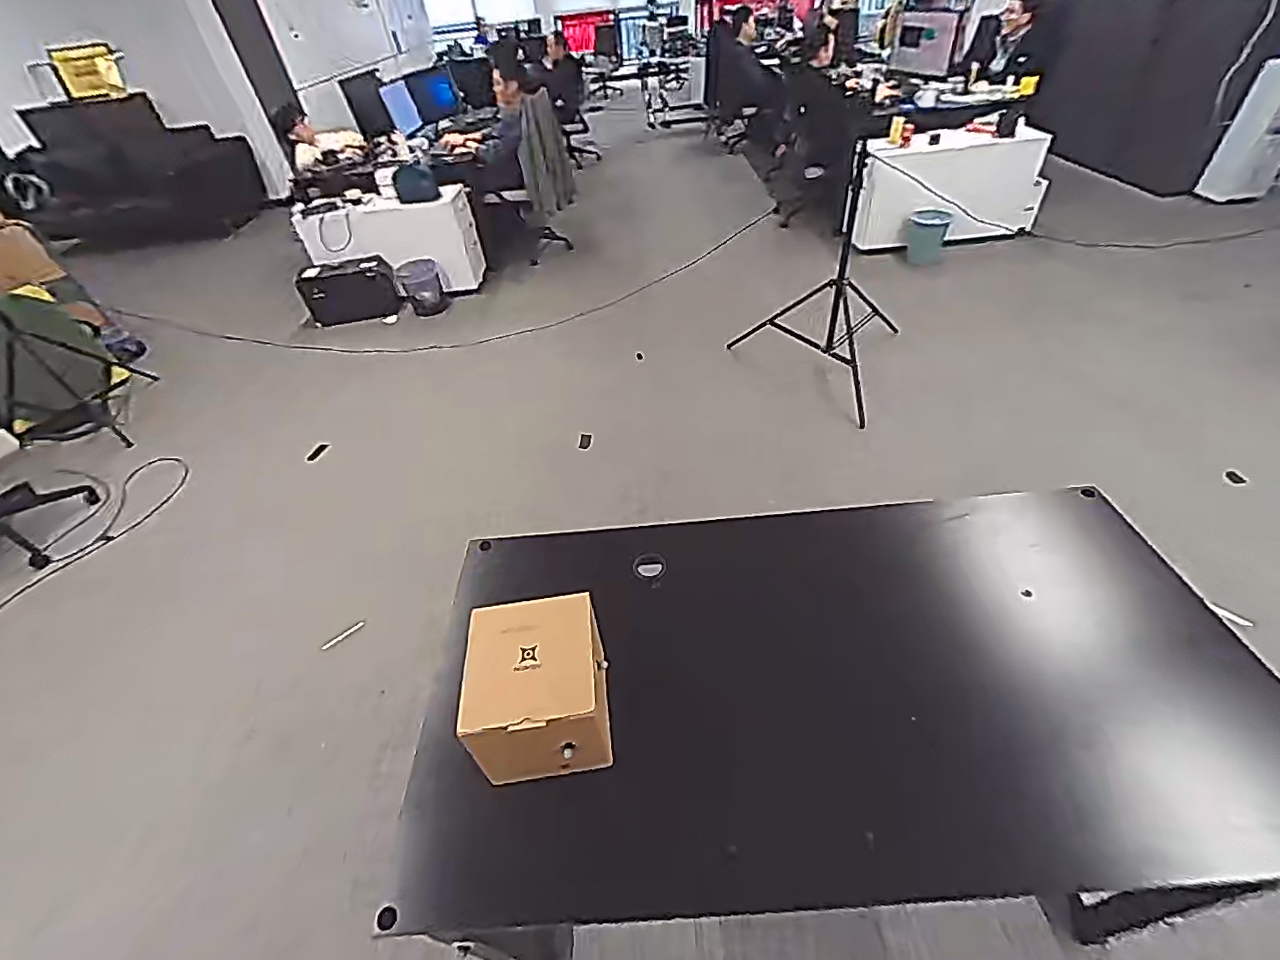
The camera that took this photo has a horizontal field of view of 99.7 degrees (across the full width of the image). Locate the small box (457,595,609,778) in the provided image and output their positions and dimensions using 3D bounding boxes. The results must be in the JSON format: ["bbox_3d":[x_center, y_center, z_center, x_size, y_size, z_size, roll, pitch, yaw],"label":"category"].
[{"bbox_3d":[-0.137,0.288,0.745,0.168,0.176,0.179,-8,41,-3],"label":"small box"}]
